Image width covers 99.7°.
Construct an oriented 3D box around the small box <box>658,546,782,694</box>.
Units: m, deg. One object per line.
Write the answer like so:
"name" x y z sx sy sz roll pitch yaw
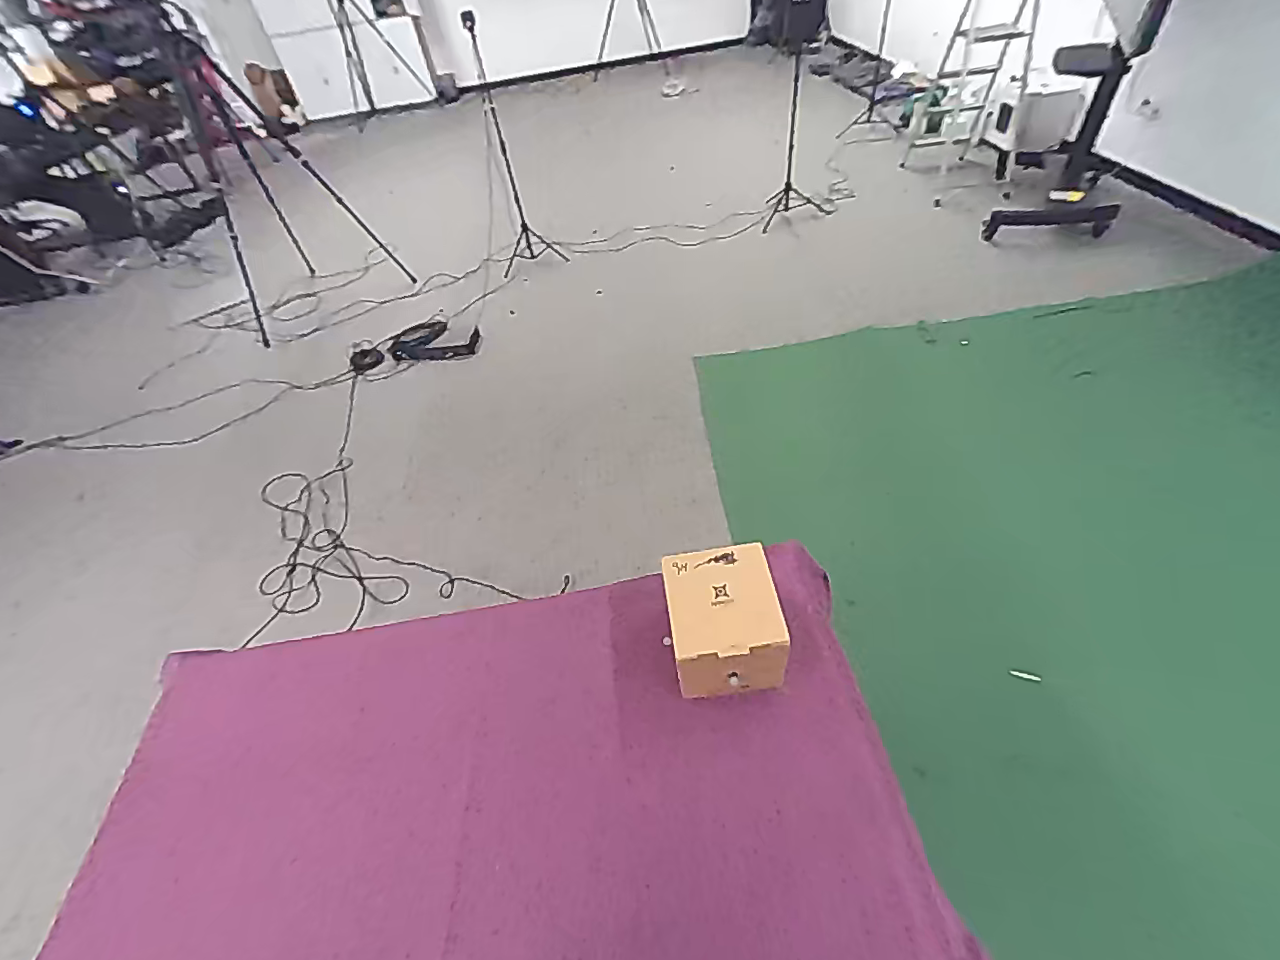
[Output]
"small box" 0.125 0.234 0.878 0.168 0.176 0.179 -8 49 1
